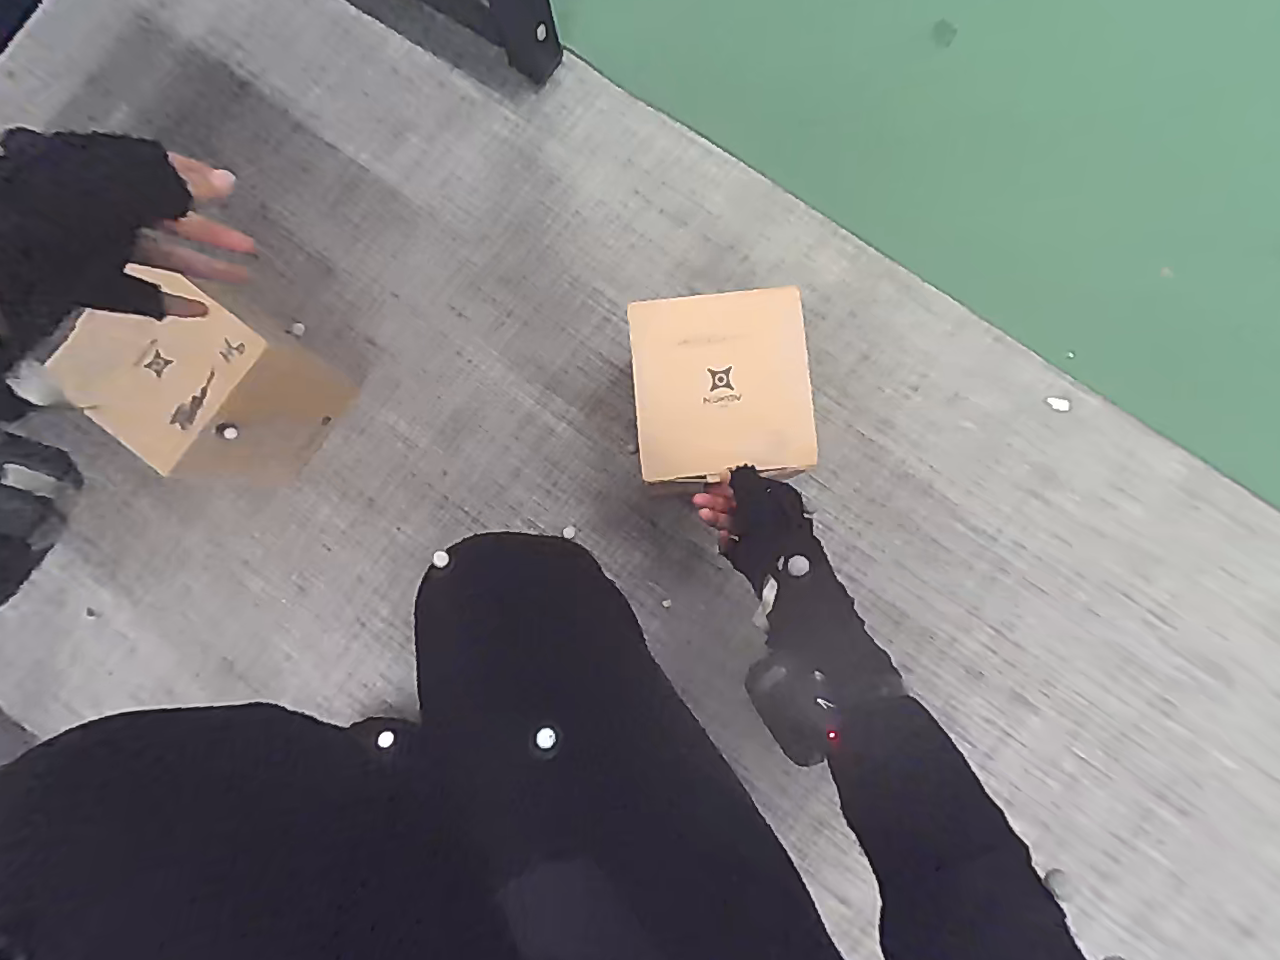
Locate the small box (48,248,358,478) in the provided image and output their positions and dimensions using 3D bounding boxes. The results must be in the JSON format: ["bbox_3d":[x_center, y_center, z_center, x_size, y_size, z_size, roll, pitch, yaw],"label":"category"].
[{"bbox_3d":[-0.474,-0.115,0.615,0.179,0.176,0.168,36,89,6],"label":"small box"}]
